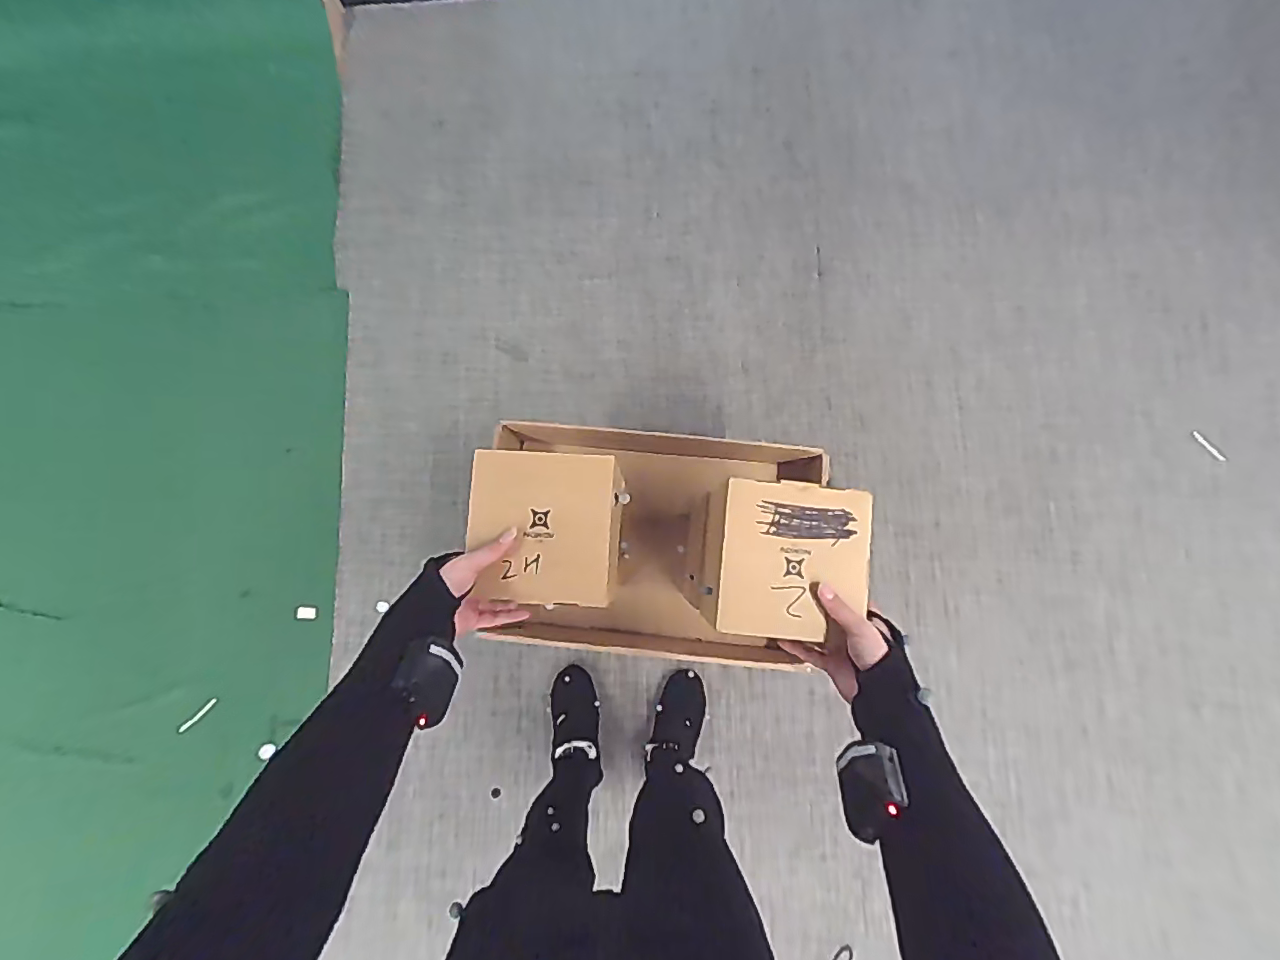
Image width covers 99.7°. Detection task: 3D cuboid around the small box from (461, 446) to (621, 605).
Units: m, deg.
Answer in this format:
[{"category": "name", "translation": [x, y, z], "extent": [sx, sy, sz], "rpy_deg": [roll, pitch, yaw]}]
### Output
[{"category": "small box", "translation": [-0.115, 0.063, 0.701], "extent": [0.168, 0.176, 0.179], "rpy_deg": [3, 82, 2]}]

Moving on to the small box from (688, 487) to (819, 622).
[{"category": "small box", "translation": [0.168, 0.116, 0.844], "extent": [0.168, 0.176, 0.179], "rpy_deg": [6, 81, 2]}]

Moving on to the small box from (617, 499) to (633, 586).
[{"category": "small box", "translation": [-0.112, 0.113, 1.024], "extent": [0.179, 0.176, 0.168], "rpy_deg": [8, 82, 3]}]
